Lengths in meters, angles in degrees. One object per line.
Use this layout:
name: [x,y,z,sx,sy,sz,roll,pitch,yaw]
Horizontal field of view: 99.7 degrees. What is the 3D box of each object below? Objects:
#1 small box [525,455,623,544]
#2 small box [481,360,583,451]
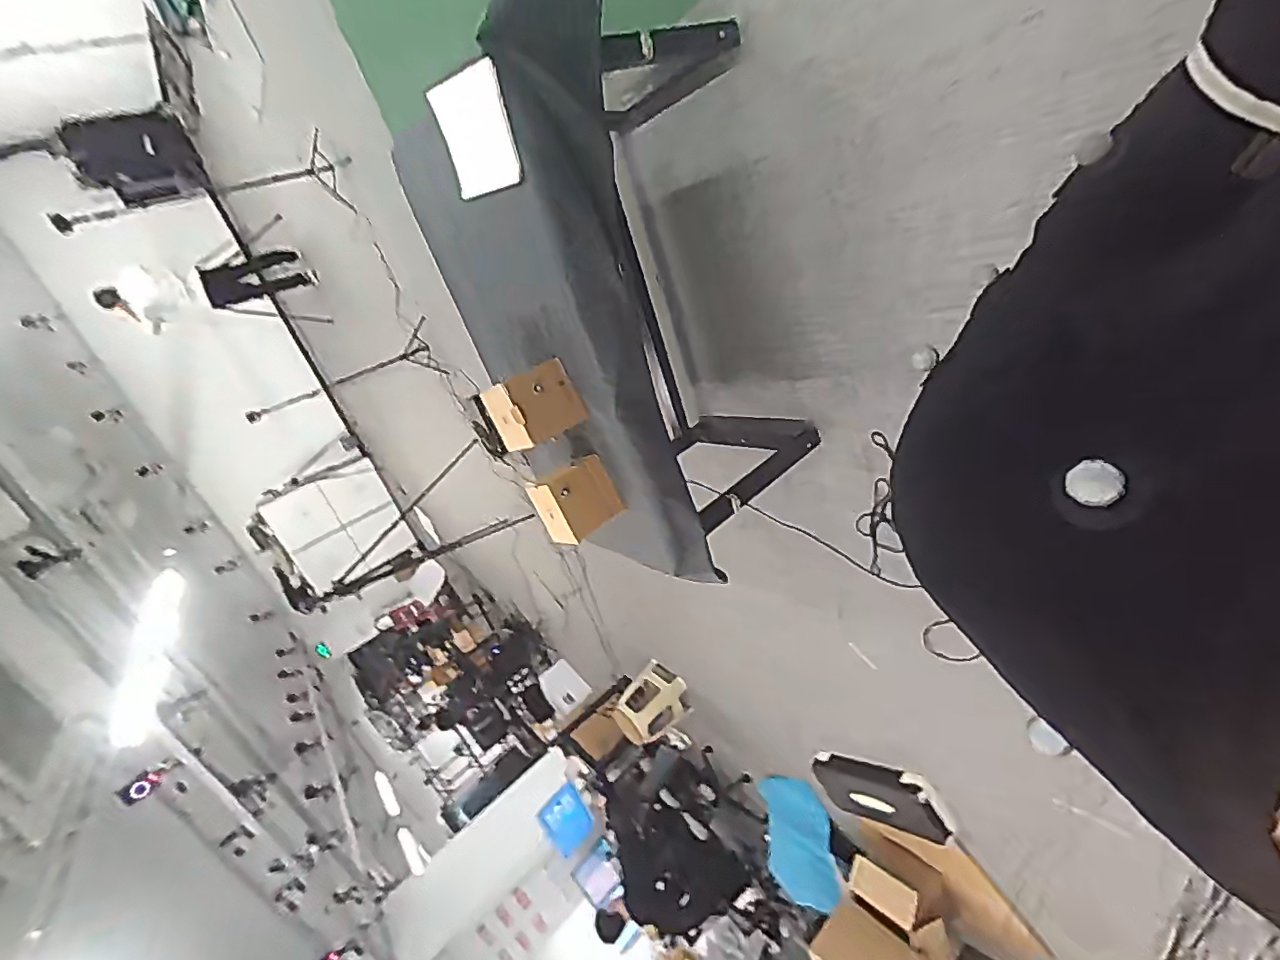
small box: [-0.174,0.052,1.446,0.168,0.176,0.179,-6,112,58]
small box: [-0.265,-0.187,1.353,0.179,0.176,0.168,-2,115,58]
